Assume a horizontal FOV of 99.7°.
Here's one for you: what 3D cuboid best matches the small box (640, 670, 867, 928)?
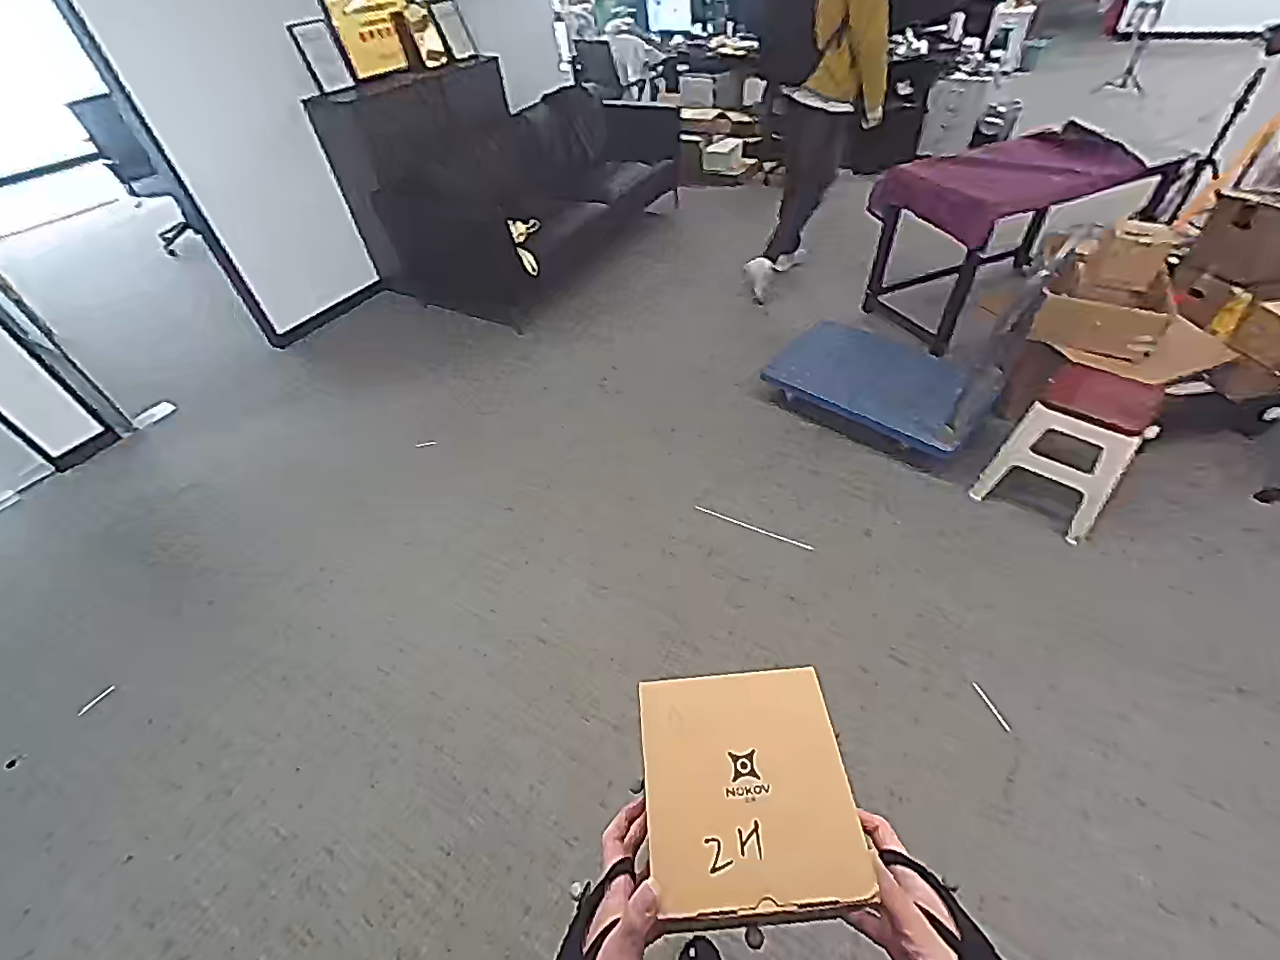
[{"bbox_3d":[0.087,0.302,0.511,0.168,0.176,0.179,-4,48,1],"label":"small box"}]
